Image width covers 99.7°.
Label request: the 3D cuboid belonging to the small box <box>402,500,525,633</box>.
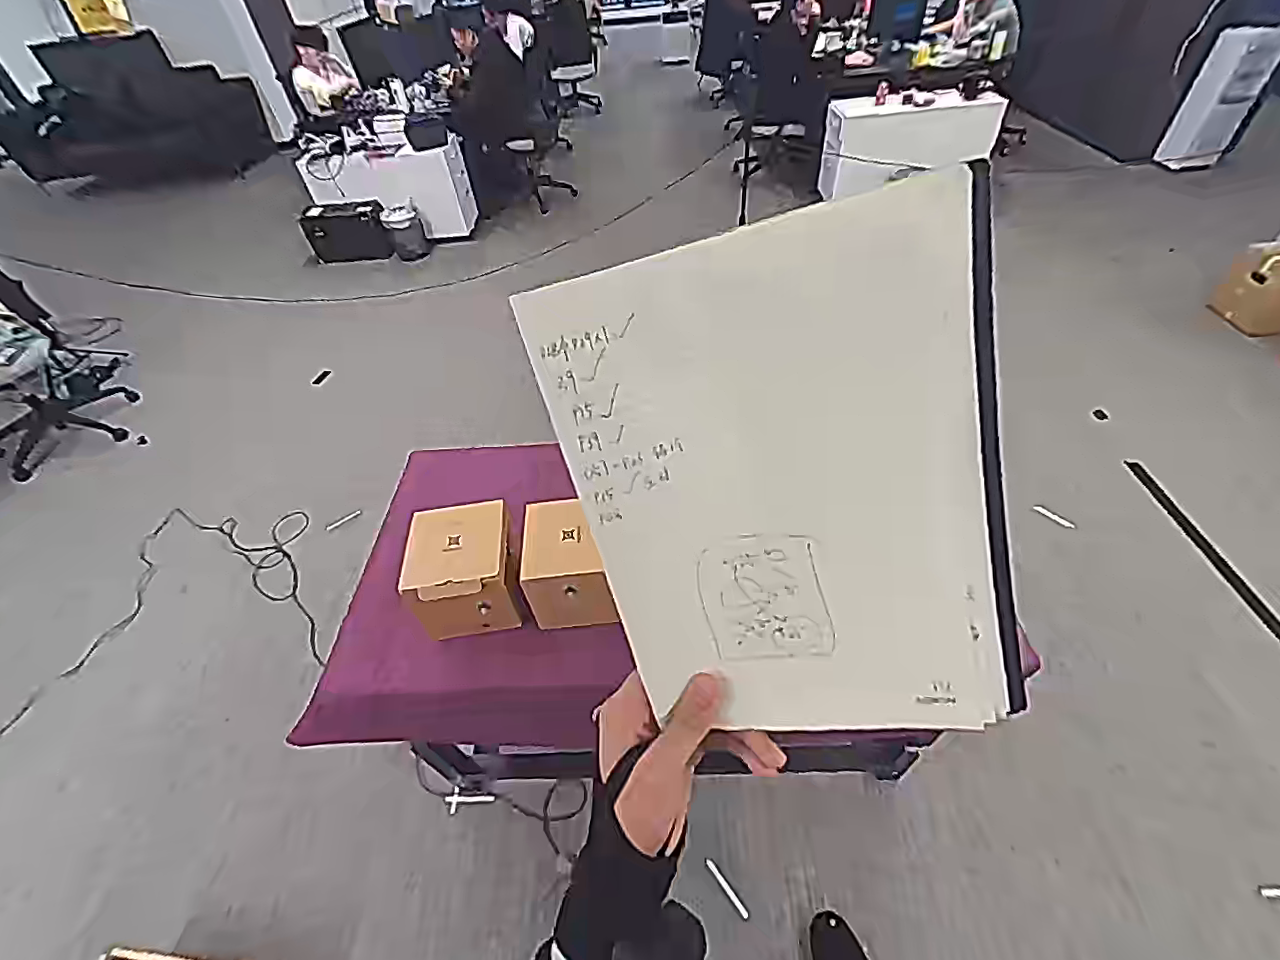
[{"bbox_3d":[-0.311,0.165,0.993,0.168,0.176,0.179,-8,46,-2],"label":"small box"}]

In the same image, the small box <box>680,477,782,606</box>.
[{"bbox_3d":[0.160,0.115,0.985,0.168,0.176,0.179,-1,46,5],"label":"small box"}]
